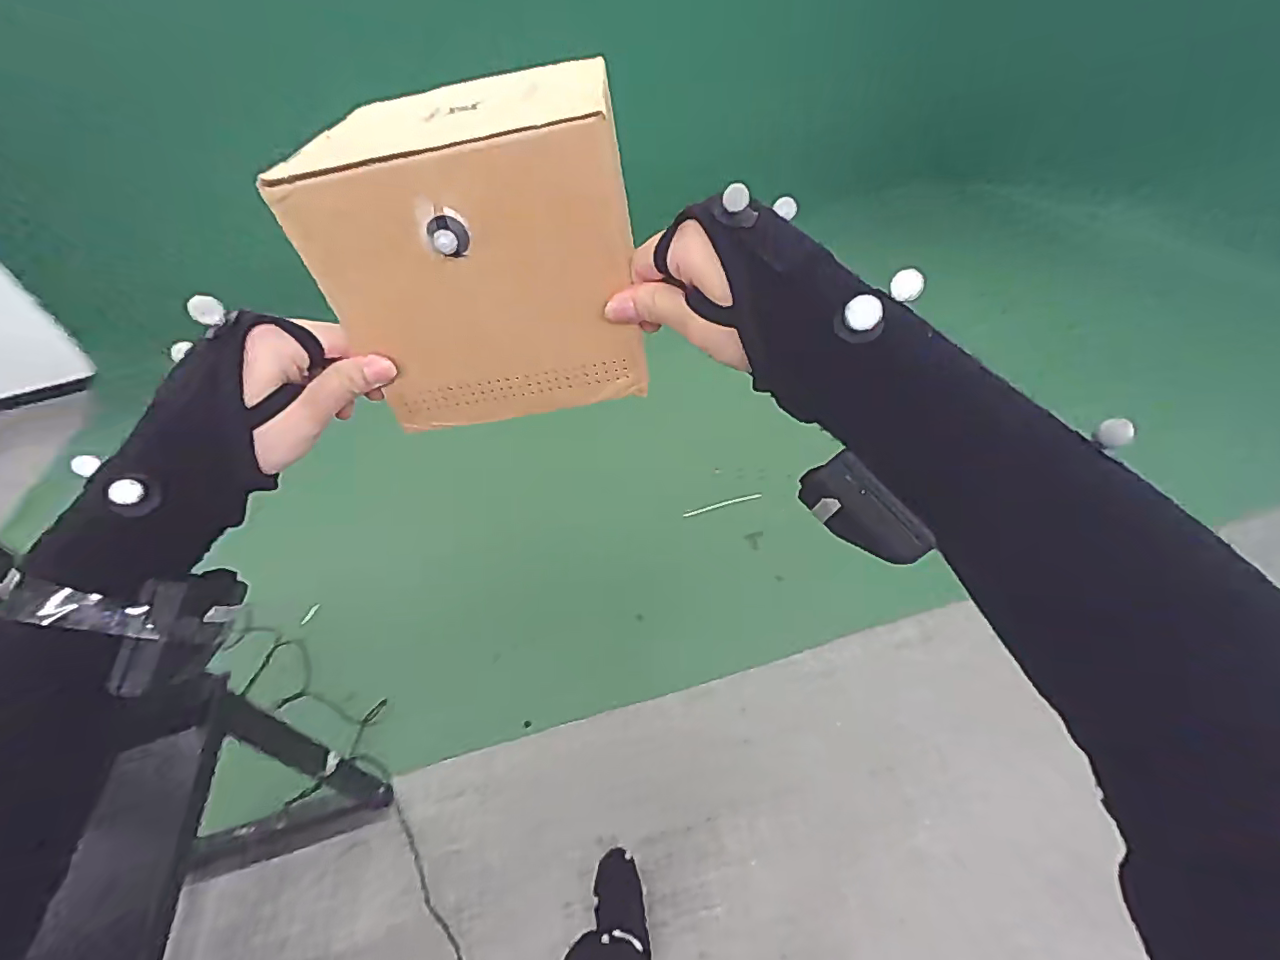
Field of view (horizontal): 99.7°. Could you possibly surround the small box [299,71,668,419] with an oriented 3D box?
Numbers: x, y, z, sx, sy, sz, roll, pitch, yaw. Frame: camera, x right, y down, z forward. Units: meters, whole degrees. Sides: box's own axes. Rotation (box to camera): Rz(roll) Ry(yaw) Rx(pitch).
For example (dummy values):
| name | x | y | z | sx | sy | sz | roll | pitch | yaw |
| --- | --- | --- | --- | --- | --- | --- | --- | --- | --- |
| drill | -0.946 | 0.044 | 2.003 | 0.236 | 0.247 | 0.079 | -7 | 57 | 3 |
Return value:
| name | x | y | z | sx | sy | sz | roll | pitch | yaw |
| --- | --- | --- | --- | --- | --- | --- | --- | --- | --- |
| small box | -0.080 | -0.159 | 0.380 | 0.179 | 0.176 | 0.168 | -7 | 44 | 4 |
